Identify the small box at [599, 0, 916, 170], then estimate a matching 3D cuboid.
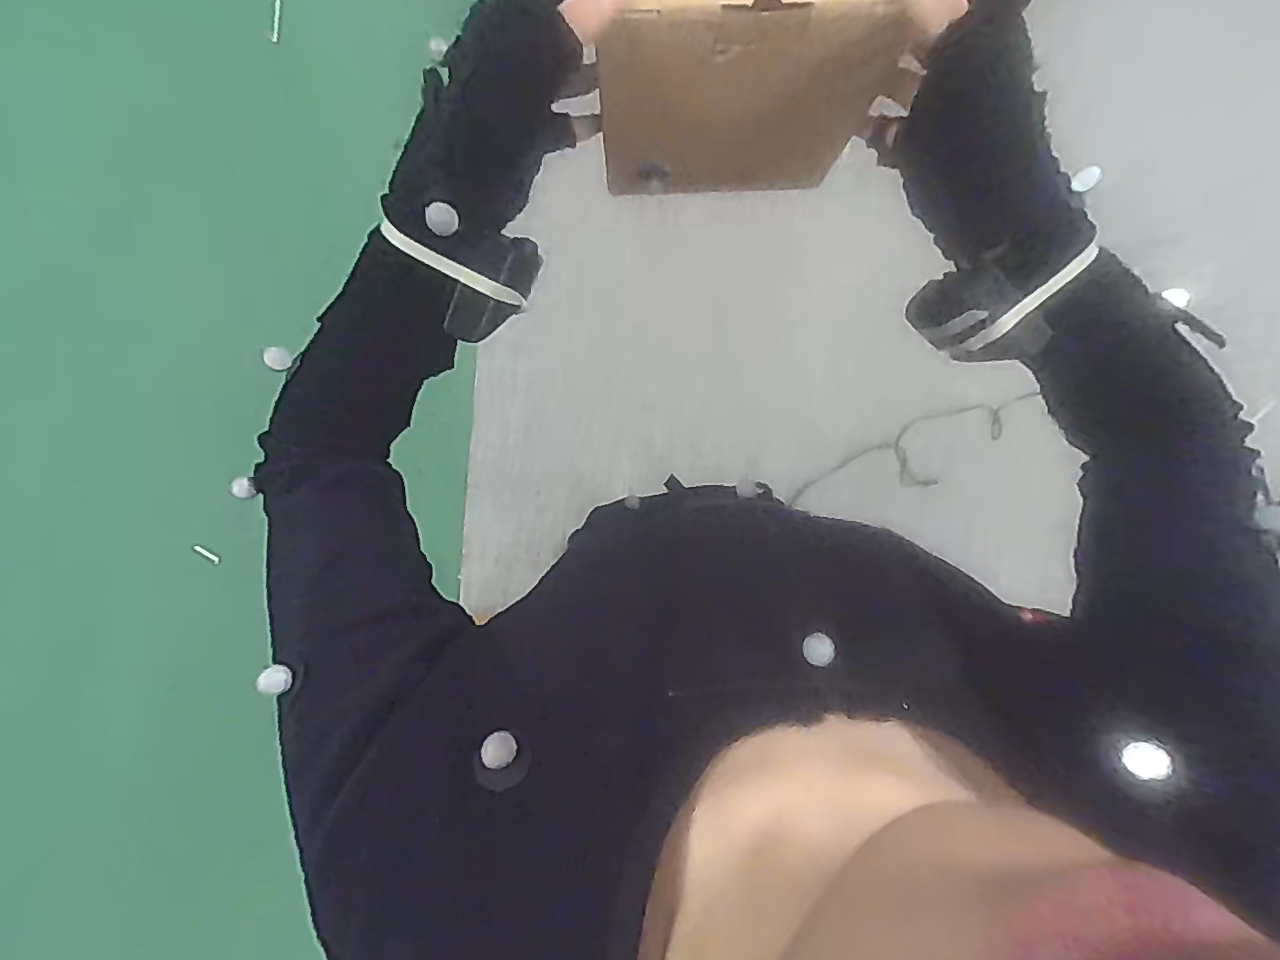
[{"bbox_3d":[0.060,-0.316,0.332,0.168,0.176,0.179,-2,89,-1],"label":"small box"}]
